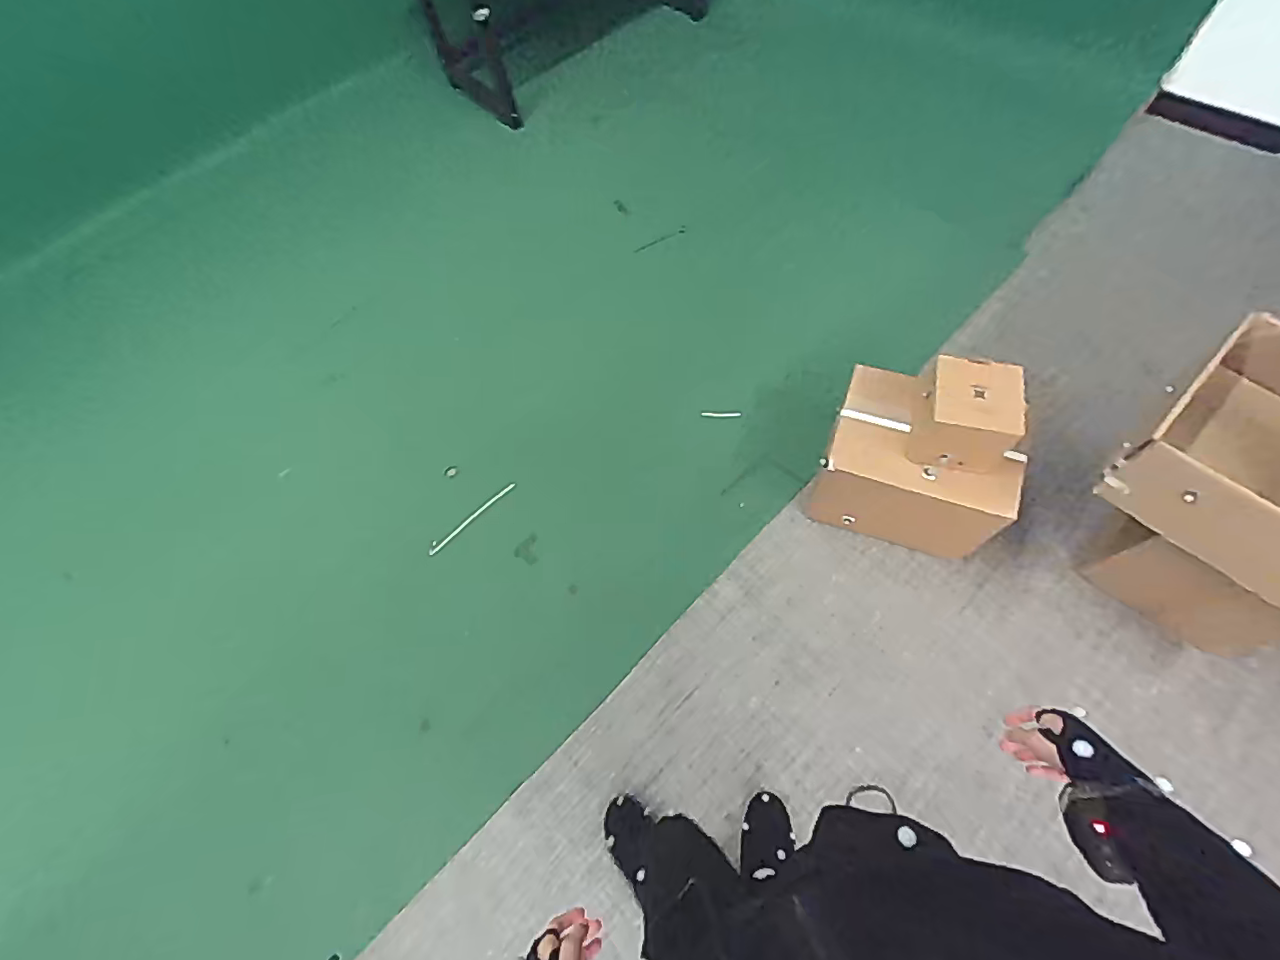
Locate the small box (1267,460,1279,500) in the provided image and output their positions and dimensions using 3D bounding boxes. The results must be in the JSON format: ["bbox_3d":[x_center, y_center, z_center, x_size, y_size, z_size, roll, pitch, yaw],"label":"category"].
[{"bbox_3d":[1.257,-0.026,0.920,0.168,0.176,0.179,40,76,23],"label":"small box"}]
